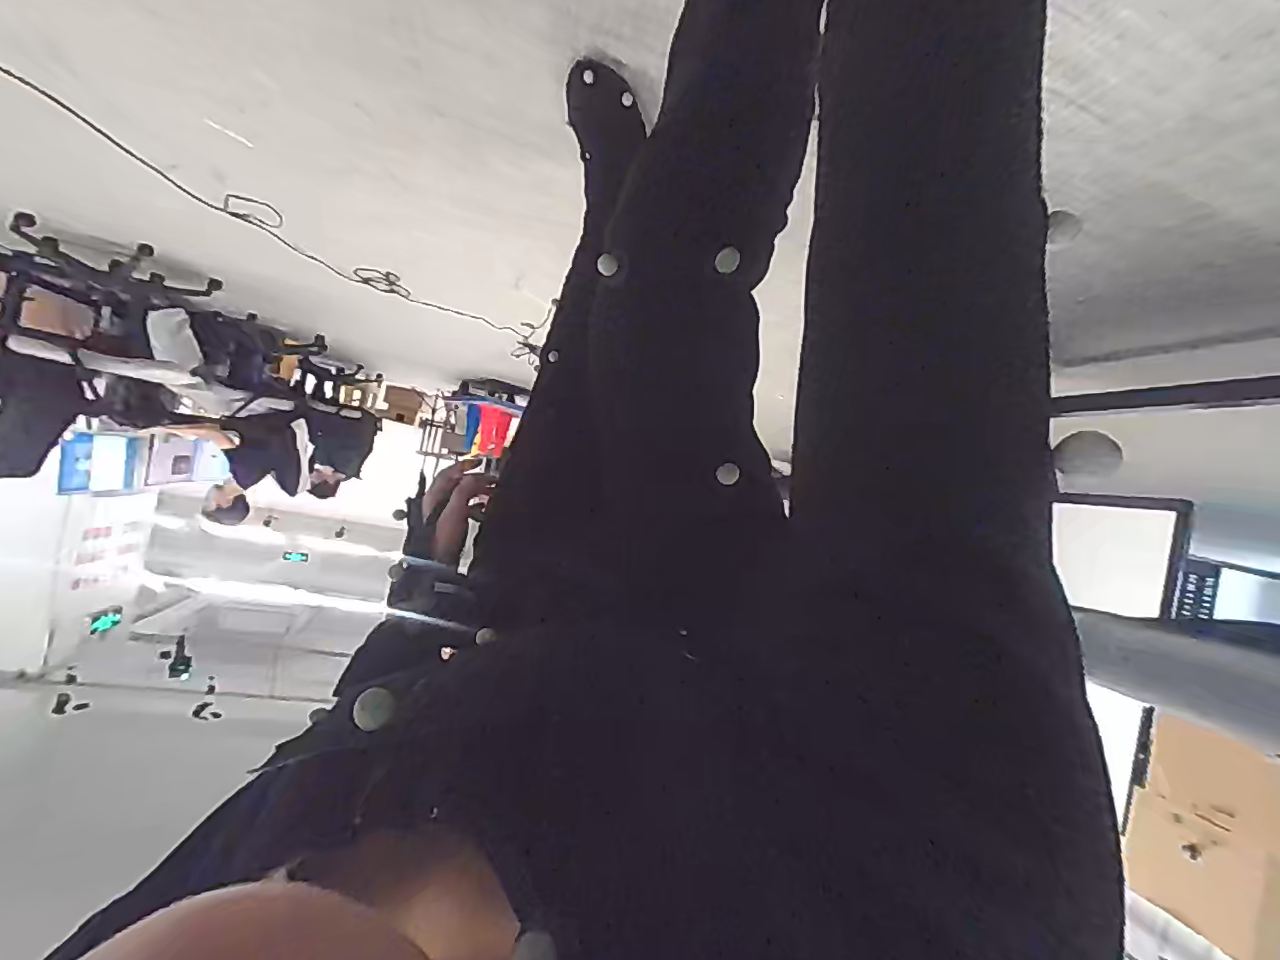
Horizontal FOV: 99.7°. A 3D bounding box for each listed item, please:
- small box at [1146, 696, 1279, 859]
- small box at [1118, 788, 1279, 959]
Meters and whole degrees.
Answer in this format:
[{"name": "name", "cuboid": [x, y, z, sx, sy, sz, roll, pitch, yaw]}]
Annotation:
[{"name": "small box", "cuboid": [0.932, 0.442, 0.825, 0.179, 0.176, 0.168, 10, 179, -19]}, {"name": "small box", "cuboid": [0.904, 0.605, 0.839, 0.179, 0.176, 0.168, 11, 178, -16]}]
